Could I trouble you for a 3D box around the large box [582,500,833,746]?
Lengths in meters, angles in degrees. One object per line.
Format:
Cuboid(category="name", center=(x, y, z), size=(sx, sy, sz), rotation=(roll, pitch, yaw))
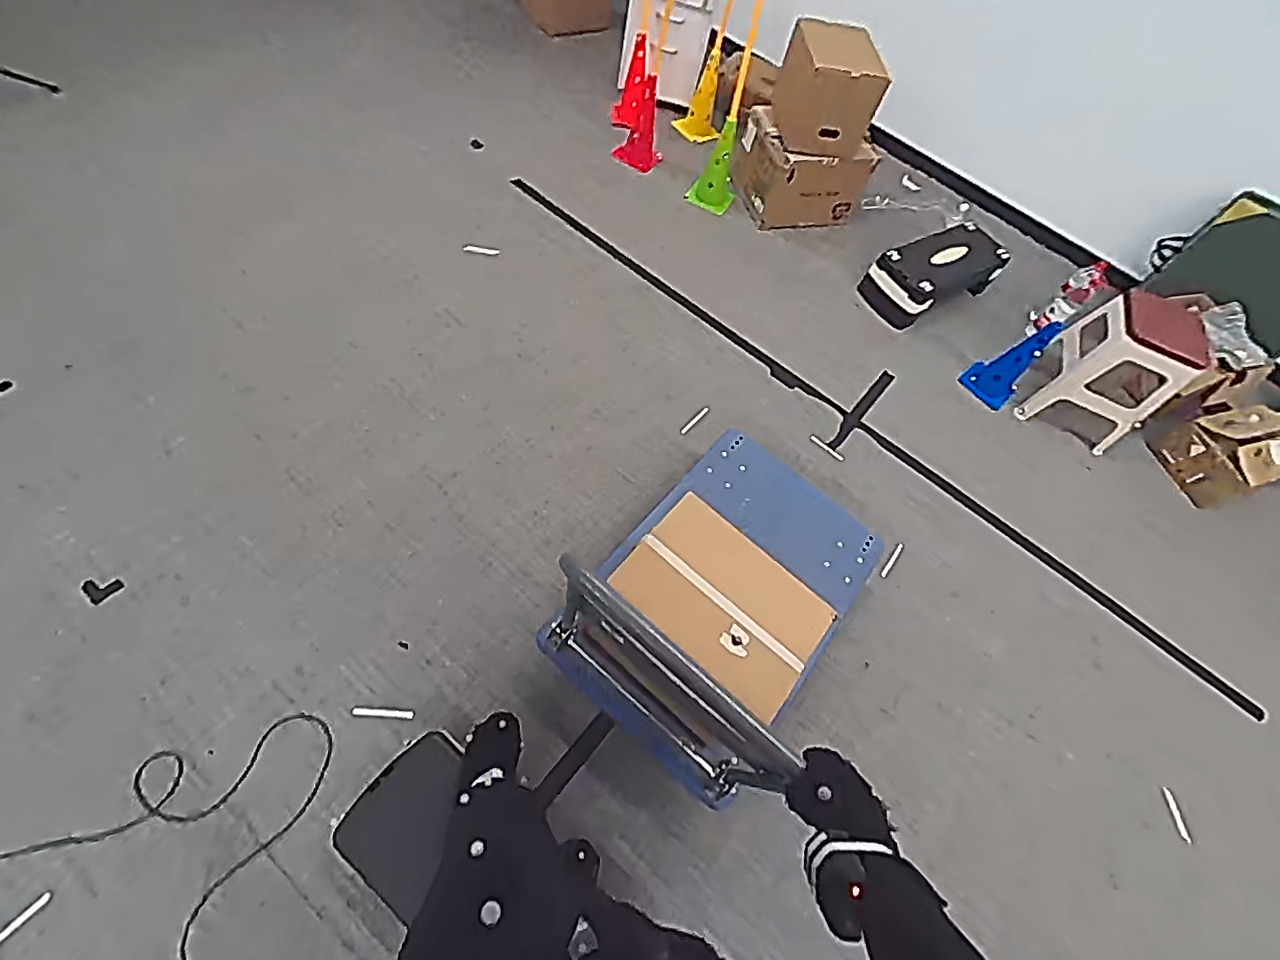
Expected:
Cuboid(category="large box", center=(0.129, 0.324, 1.208), size=(0.408, 0.320, 0.320), rotation=(40, 62, 9))
